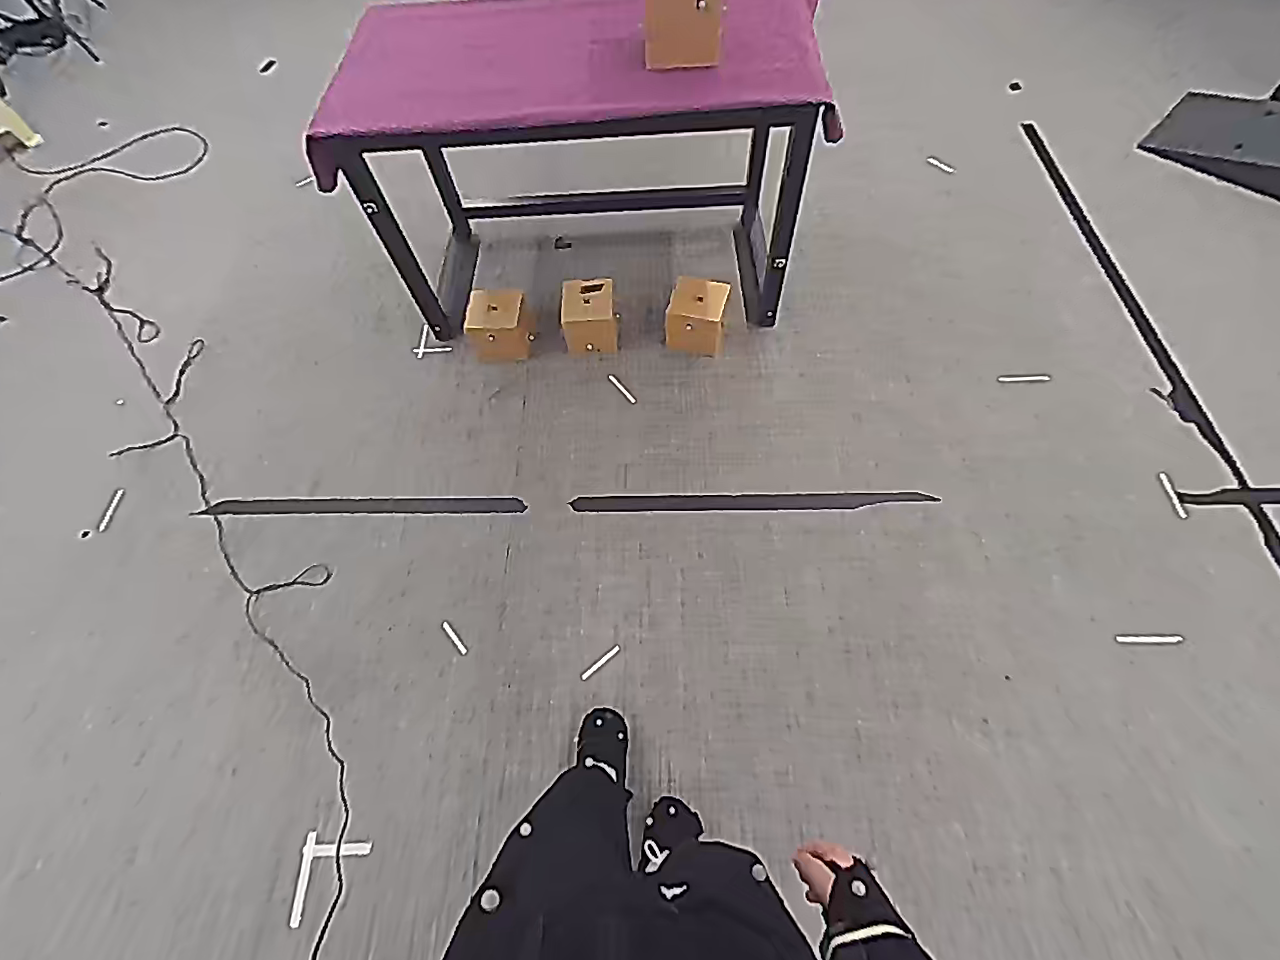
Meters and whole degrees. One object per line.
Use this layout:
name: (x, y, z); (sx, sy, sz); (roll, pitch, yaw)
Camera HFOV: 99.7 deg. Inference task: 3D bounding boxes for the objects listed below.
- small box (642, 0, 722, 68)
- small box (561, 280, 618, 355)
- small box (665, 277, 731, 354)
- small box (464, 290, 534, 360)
small box: (0.098, -1.094, 1.255); (0.179, 0.176, 0.168); (0, 62, 4)
small box: (-0.165, -0.542, 1.811); (0.168, 0.176, 0.179); (-3, 64, 3)
small box: (0.192, -0.539, 1.785); (0.179, 0.176, 0.168); (13, 65, 12)
small box: (-0.469, -0.518, 1.822); (0.179, 0.176, 0.168); (0, 64, 3)
